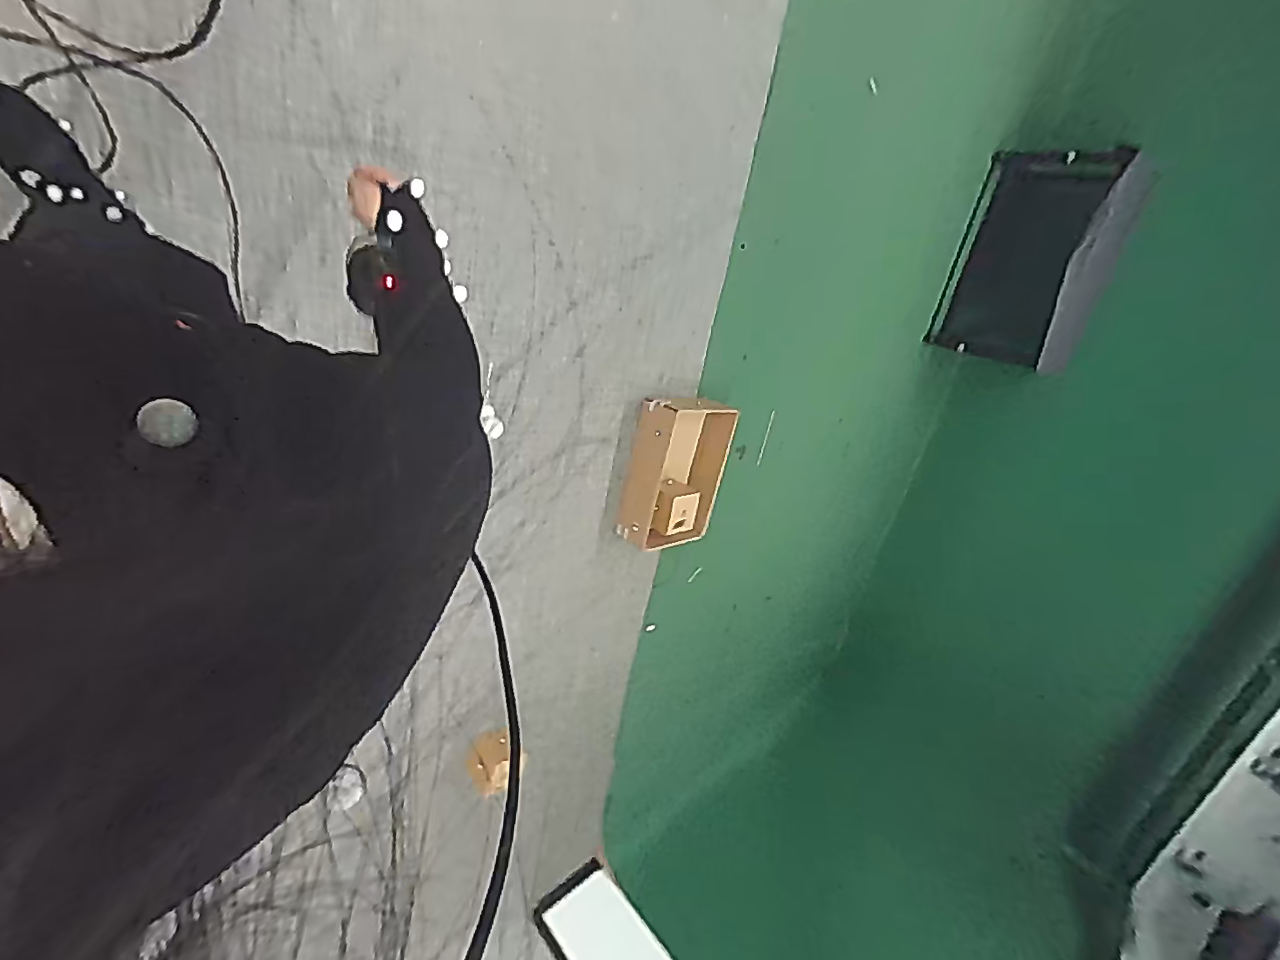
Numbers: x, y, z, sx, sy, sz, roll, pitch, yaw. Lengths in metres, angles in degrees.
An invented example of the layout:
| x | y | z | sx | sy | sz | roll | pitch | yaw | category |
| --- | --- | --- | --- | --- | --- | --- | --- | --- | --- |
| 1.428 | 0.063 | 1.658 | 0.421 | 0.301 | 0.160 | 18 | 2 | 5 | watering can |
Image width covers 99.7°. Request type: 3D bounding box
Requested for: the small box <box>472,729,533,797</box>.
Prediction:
| x | y | z | sx | sy | sz | roll | pitch | yaw | category |
| --- | --- | --- | --- | --- | --- | --- | --- | --- | --- |
| -0.587 | 1.181 | 2.284 | 0.168 | 0.176 | 0.179 | 6 | 108 | -48 | small box |
